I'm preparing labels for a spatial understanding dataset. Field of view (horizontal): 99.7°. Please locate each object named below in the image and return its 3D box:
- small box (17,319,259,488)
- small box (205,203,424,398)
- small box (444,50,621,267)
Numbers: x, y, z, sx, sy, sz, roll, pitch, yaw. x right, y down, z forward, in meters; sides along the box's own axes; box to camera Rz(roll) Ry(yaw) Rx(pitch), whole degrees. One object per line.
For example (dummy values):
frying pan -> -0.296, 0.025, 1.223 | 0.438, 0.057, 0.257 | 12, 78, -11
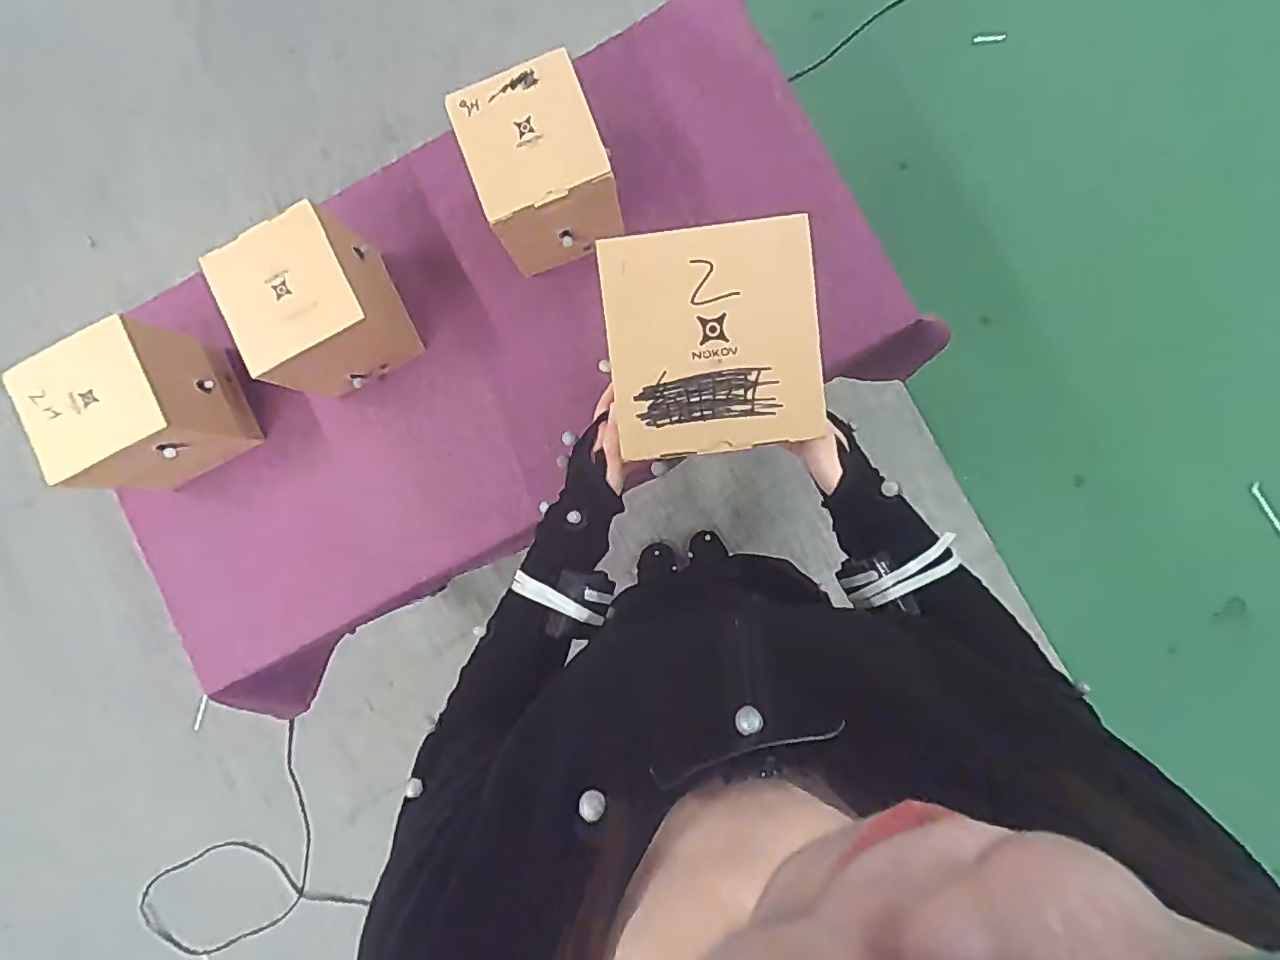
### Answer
small box -> -0.693, -0.098, 0.773 | 0.179, 0.176, 0.168 | -27, 85, 3
small box -> -0.443, -0.237, 0.762 | 0.168, 0.176, 0.179 | -27, 86, 4
small box -> -0.134, -0.418, 0.743 | 0.168, 0.176, 0.179 | -21, 87, 3
